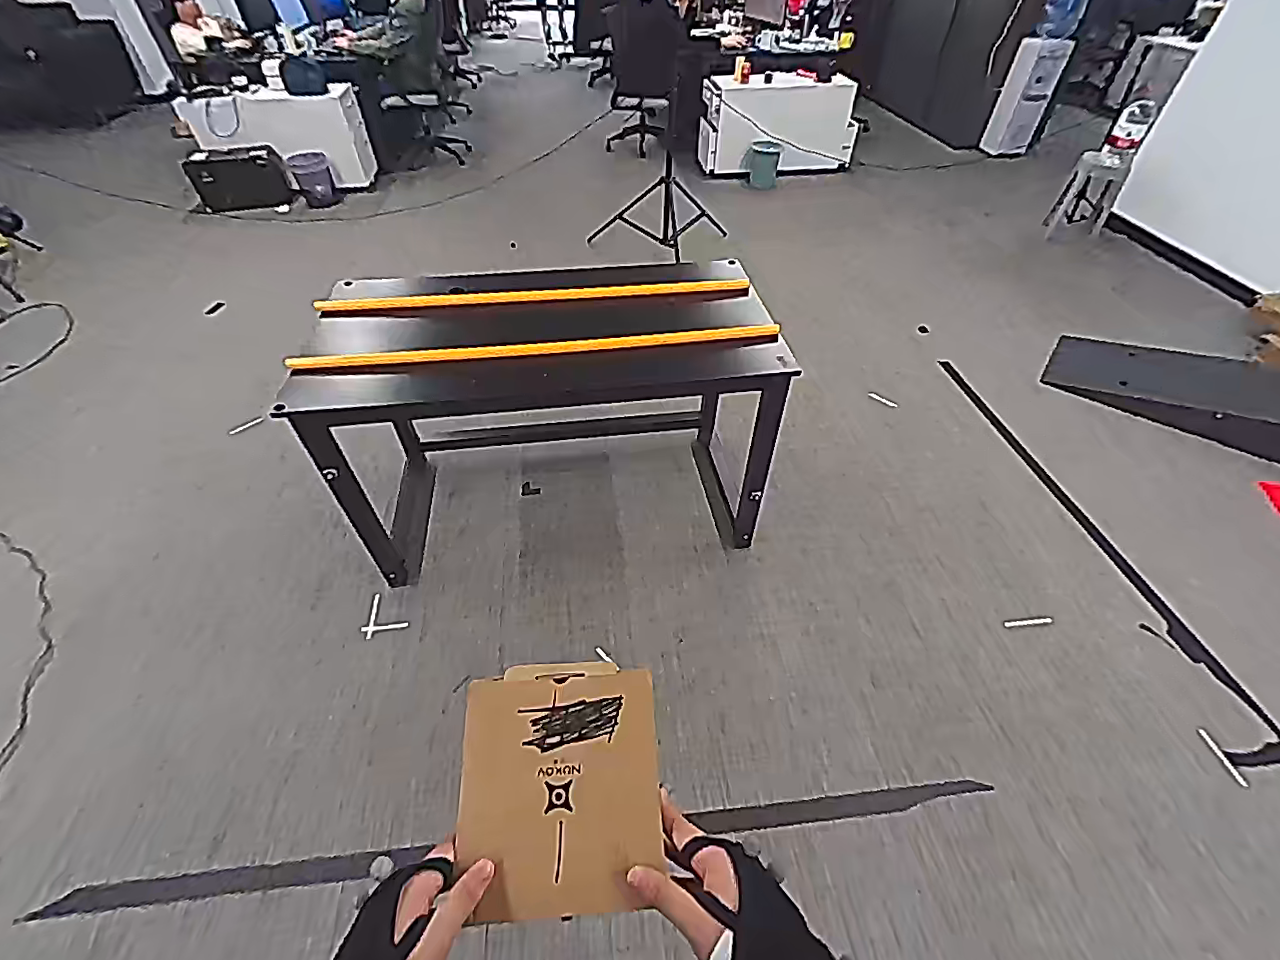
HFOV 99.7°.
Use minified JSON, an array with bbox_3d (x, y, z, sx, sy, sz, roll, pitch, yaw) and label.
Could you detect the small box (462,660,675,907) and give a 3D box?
[{"bbox_3d":[-0.061,0.286,0.524,0.168,0.176,0.179,-3,60,-2],"label":"small box"}]
